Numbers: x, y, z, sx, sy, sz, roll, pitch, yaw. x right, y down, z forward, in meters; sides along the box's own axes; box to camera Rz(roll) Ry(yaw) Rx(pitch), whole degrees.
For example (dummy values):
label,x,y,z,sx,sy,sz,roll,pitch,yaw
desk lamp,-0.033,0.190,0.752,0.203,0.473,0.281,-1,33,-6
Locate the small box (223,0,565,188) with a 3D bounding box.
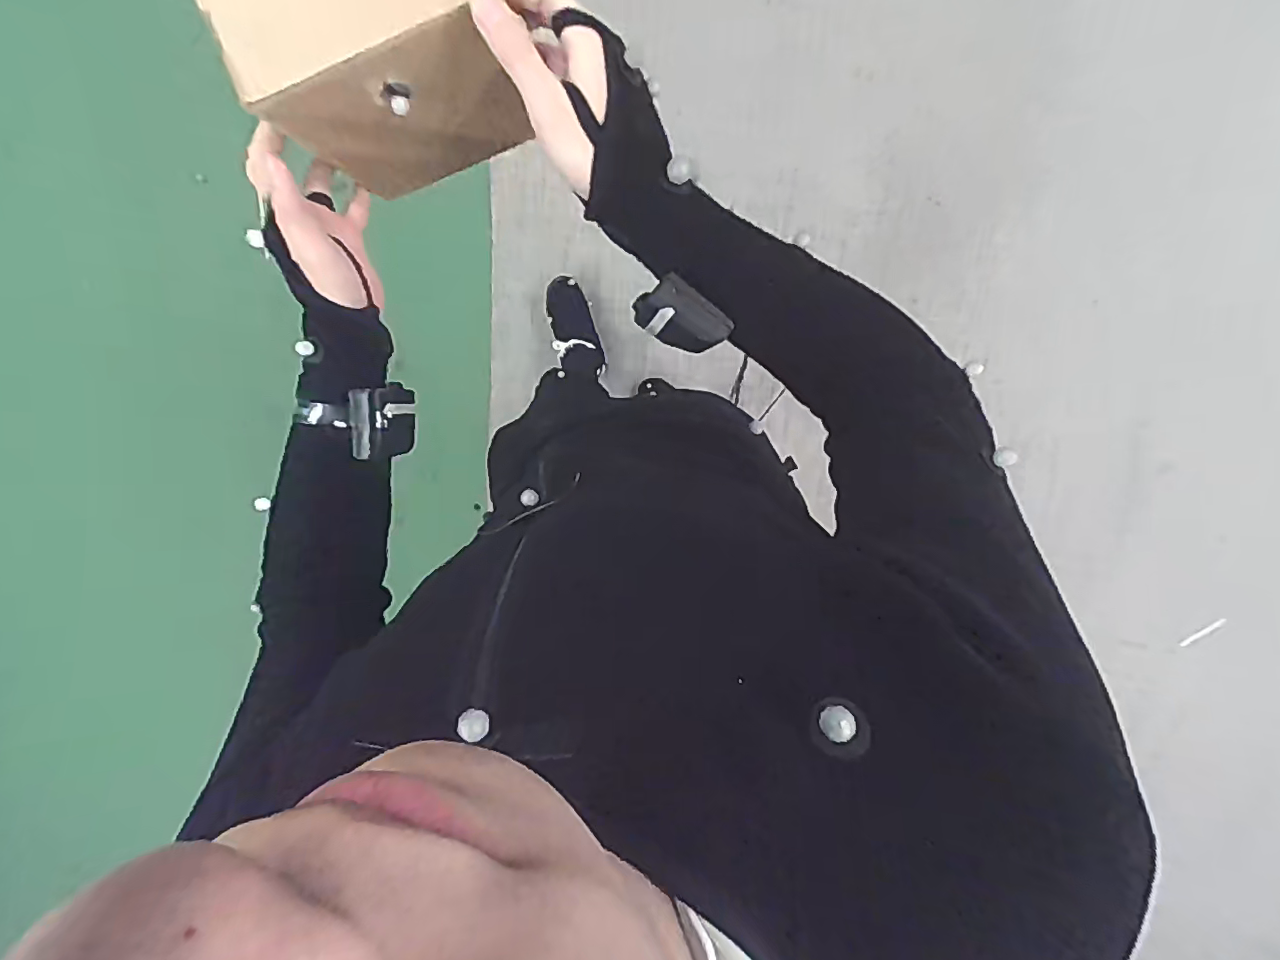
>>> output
label,x,y,z,sx,sy,sz,roll,pitch,yaw
small box,-0.175,-0.351,0.401,0.179,0.176,0.168,-16,96,7
